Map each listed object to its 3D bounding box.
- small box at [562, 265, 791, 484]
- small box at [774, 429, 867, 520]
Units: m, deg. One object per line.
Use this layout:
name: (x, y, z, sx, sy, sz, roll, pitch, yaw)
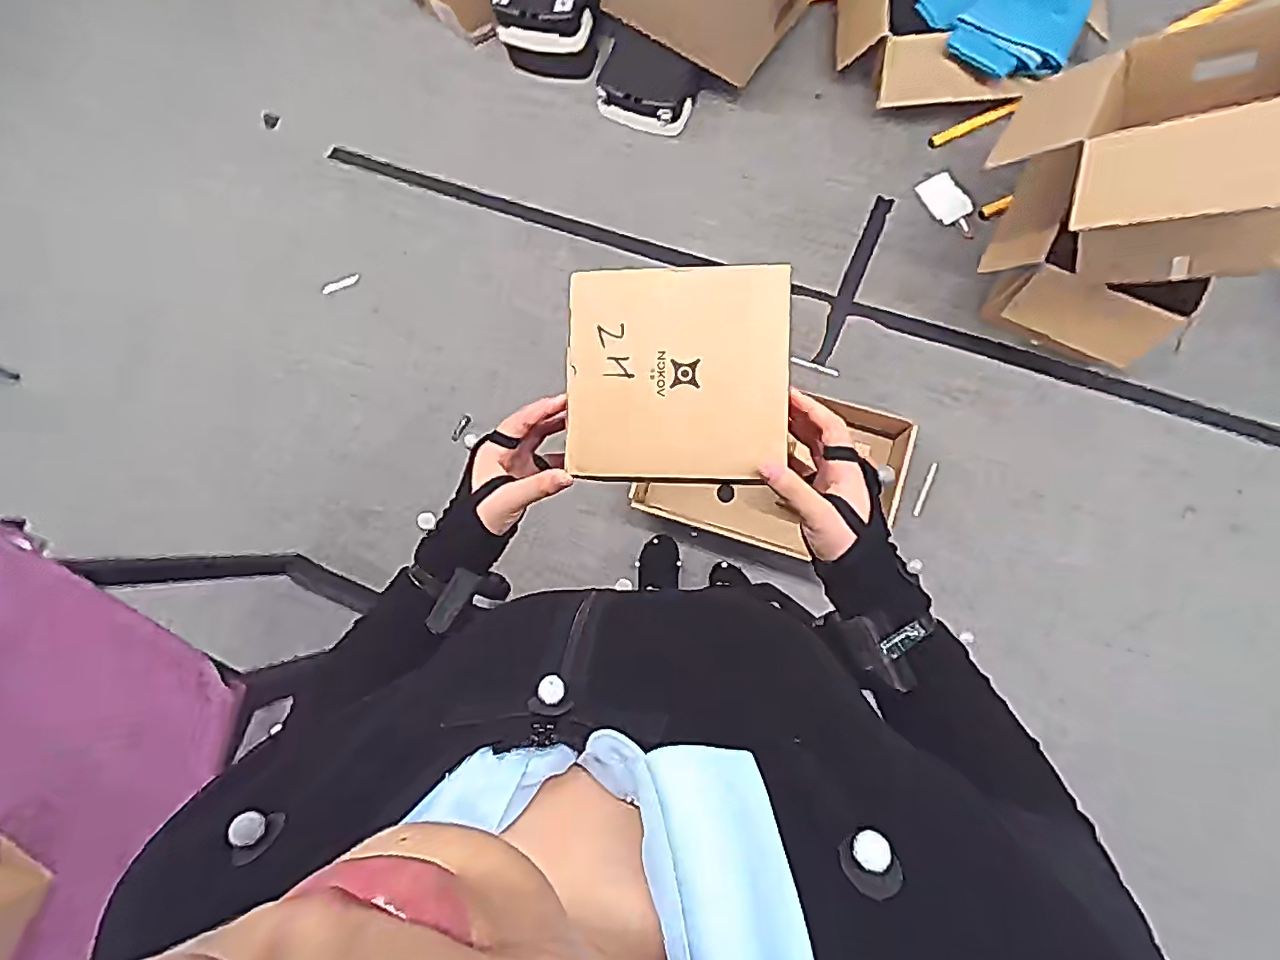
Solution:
small box: (0.037, -0.082, 0.497, 0.179, 0.176, 0.168, 1, 88, 8)
small box: (0.441, -0.009, 1.352, 0.168, 0.176, 0.179, 17, 86, 10)
